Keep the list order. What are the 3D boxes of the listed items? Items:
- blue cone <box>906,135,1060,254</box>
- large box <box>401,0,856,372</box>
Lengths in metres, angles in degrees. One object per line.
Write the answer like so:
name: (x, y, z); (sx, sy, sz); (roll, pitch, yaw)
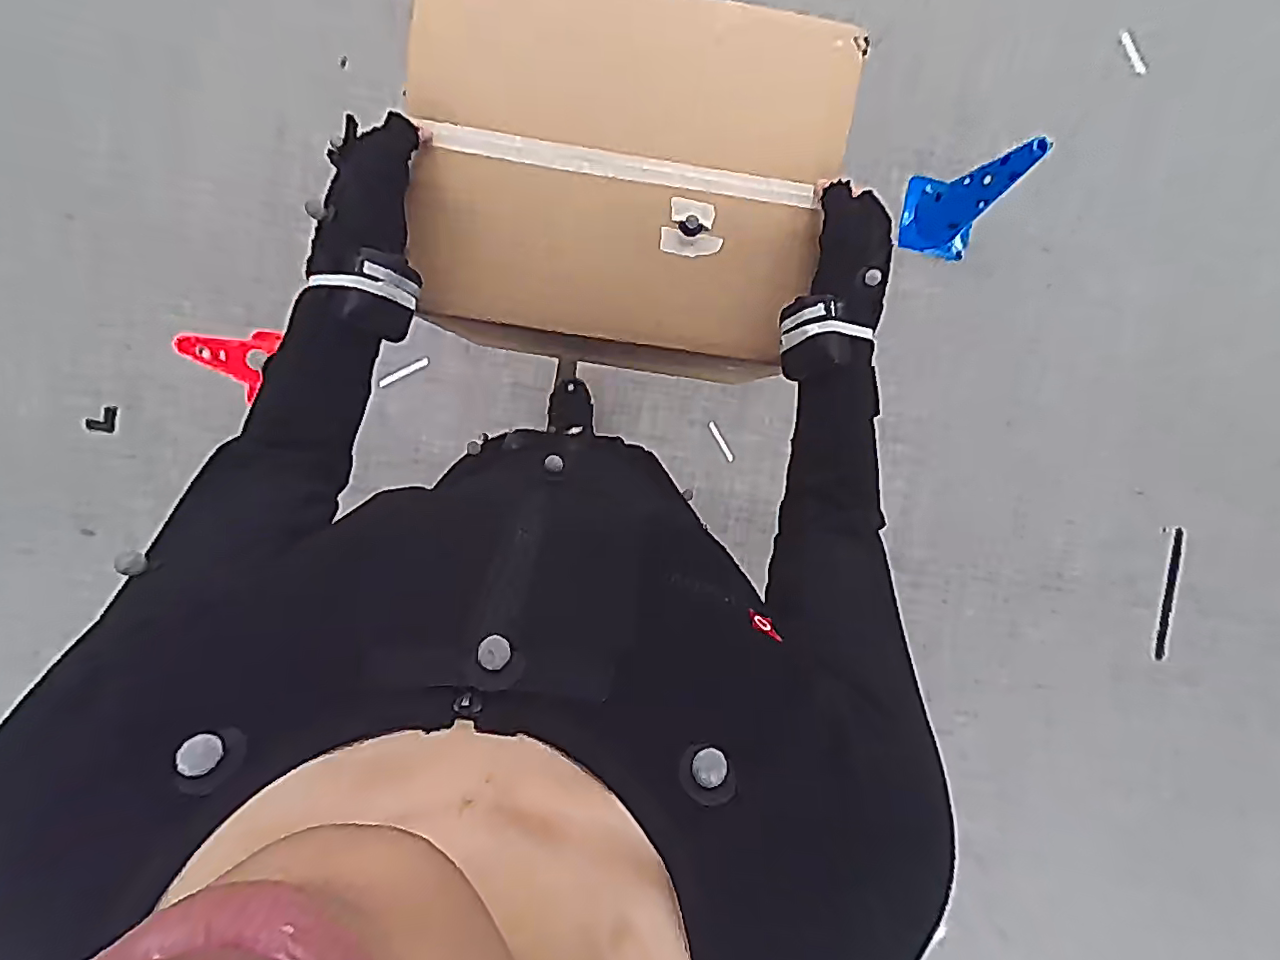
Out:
blue cone: (0.845, -0.721, 1.323); (0.192, 0.380, 0.193); (13, 92, -5)
large box: (-0.022, -0.320, 0.653); (0.408, 0.320, 0.320); (7, 97, -4)
